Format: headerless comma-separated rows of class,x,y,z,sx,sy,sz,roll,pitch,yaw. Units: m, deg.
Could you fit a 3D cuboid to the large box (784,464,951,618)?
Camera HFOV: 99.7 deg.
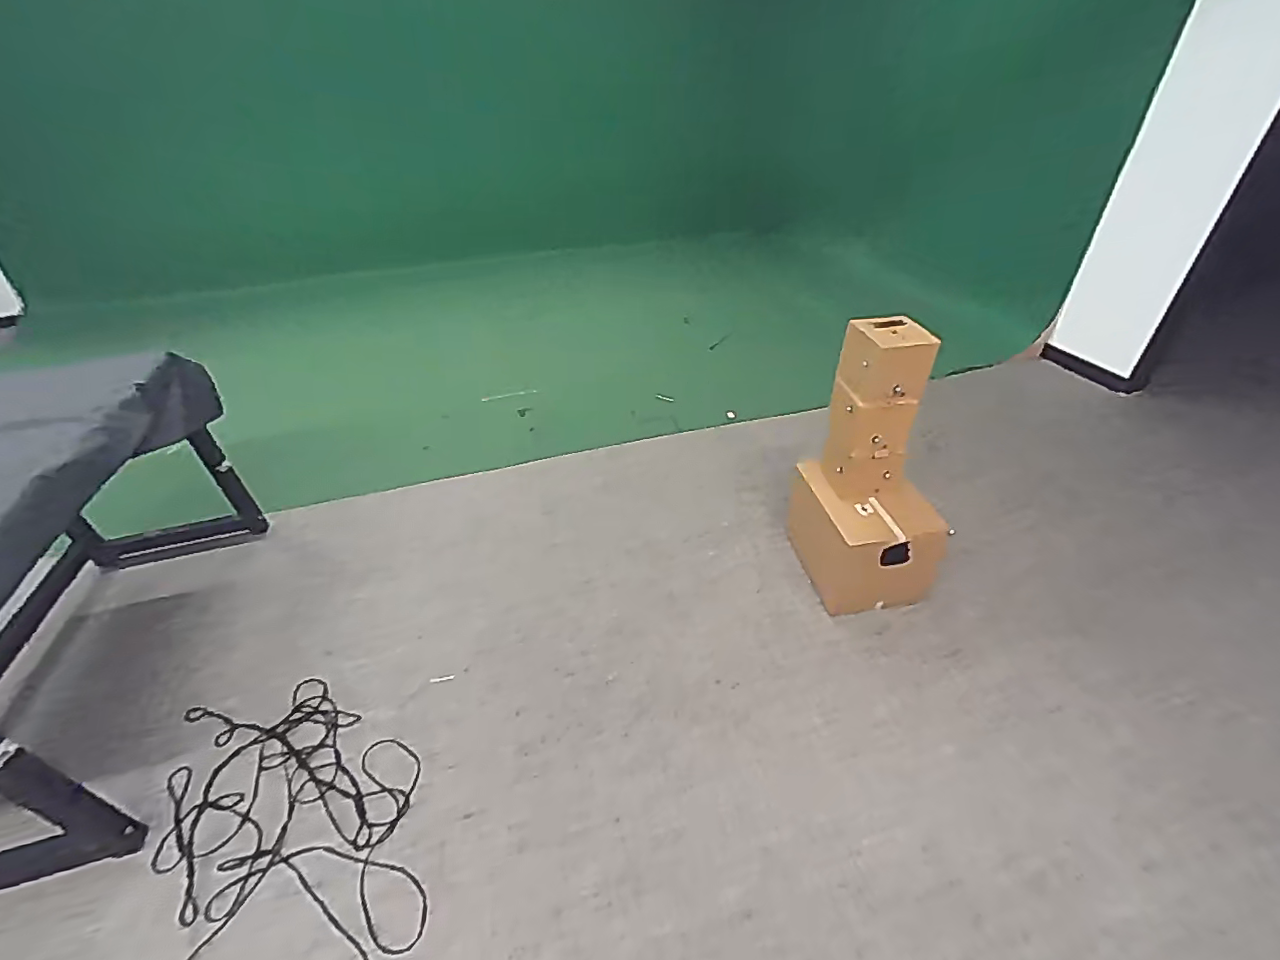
large box,0.701,0.177,1.755,0.320,0.320,0.408,-9,39,-5

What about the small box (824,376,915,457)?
small box,0.653,-0.185,1.564,0.168,0.176,0.179,-5,39,-5

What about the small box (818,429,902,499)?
small box,0.667,-0.053,1.659,0.168,0.176,0.179,-7,37,-7
